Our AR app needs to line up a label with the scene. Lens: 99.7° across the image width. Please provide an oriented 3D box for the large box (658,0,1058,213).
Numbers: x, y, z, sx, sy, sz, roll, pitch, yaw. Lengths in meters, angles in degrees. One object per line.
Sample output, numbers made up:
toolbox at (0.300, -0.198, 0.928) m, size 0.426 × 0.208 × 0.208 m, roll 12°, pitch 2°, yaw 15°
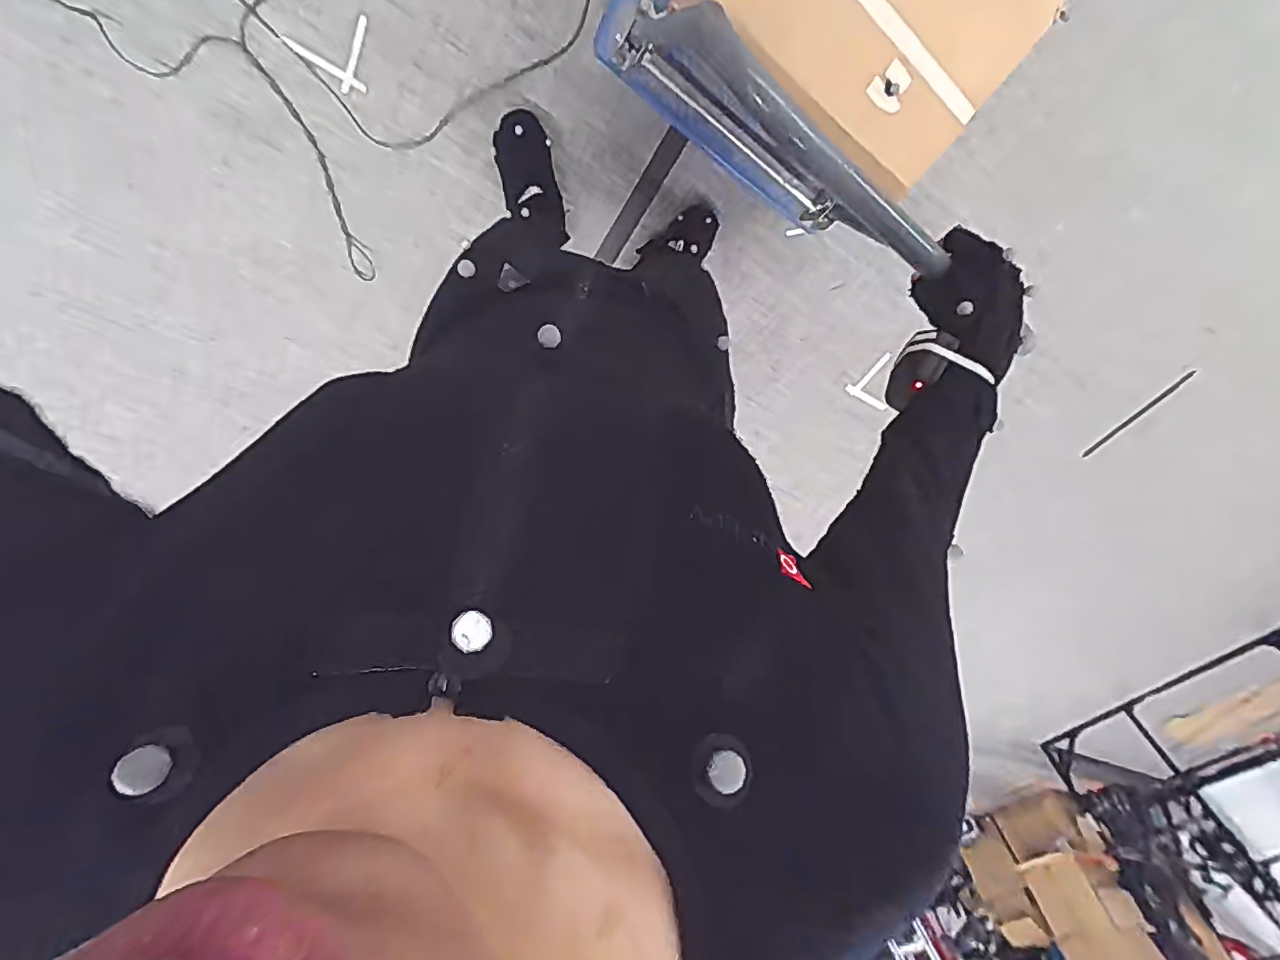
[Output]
large box at (0.290, -0.692, 0.814) m, size 0.408 × 0.320 × 0.320 m, roll 24°, pitch 124°, yaw -27°
